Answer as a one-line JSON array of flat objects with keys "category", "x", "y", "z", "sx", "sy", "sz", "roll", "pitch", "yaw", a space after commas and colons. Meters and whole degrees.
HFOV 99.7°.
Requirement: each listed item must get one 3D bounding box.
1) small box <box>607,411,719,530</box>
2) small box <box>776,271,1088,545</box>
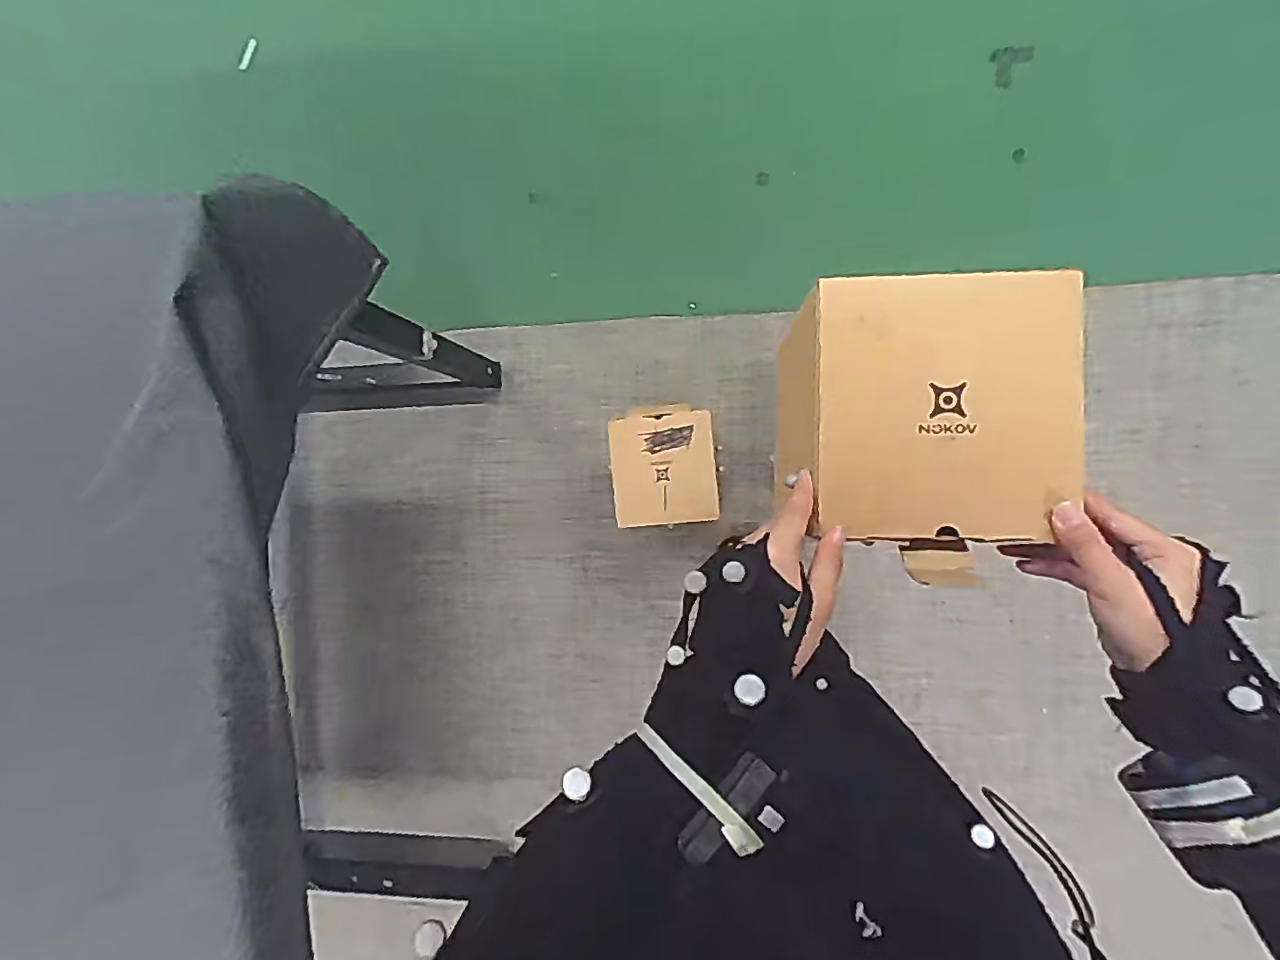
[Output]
[{"category": "small box", "x": 0.045, "y": -0.015, "z": 0.922, "sx": 0.168, "sy": 0.176, "sz": 0.179, "roll": -5, "pitch": 91, "yaw": 9}, {"category": "small box", "x": 0.204, "y": -0.045, "z": 0.425, "sx": 0.168, "sy": 0.176, "sz": 0.179, "roll": 1, "pitch": 89, "yaw": 4}]
